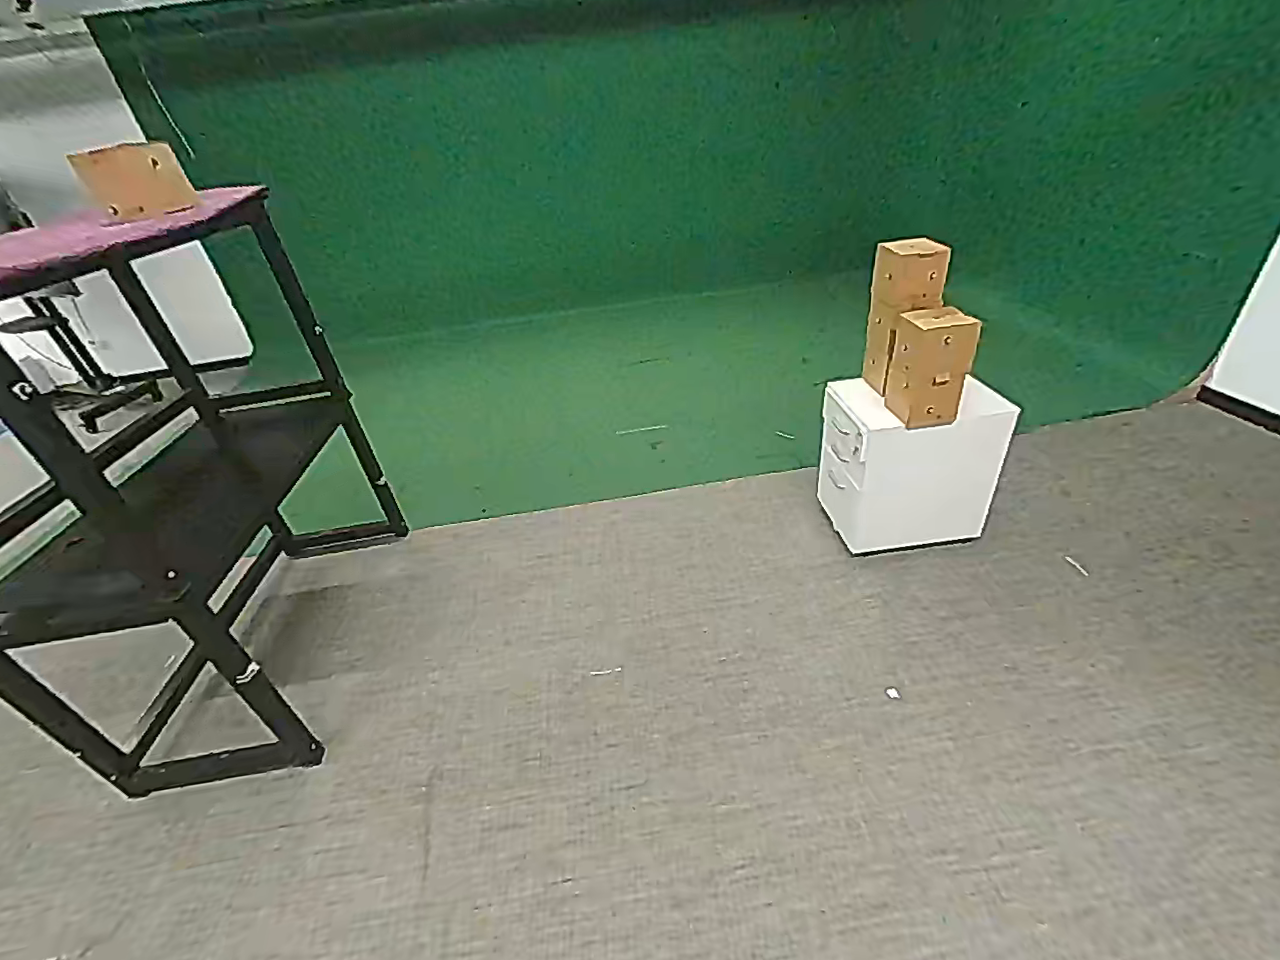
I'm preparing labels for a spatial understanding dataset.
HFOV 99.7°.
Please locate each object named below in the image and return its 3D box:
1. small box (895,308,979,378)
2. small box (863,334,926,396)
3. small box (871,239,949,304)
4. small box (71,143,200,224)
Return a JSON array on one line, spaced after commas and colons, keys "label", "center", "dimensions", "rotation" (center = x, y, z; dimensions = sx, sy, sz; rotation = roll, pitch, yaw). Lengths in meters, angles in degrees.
[{"label": "small box", "center": [0.929, -0.432, 1.715], "dimensions": [0.179, 0.176, 0.168], "rotation": [-7, 34, 0]}, {"label": "small box", "center": [0.945, -0.428, 2.000], "dimensions": [0.168, 0.176, 0.179], "rotation": [-8, 36, -1]}, {"label": "small box", "center": [0.899, -0.696, 1.817], "dimensions": [0.168, 0.176, 0.179], "rotation": [-7, 34, -1]}, {"label": "small box", "center": [-1.400, -0.830, 1.520], "dimensions": [0.168, 0.176, 0.179], "rotation": [-10, 34, 1]}]
